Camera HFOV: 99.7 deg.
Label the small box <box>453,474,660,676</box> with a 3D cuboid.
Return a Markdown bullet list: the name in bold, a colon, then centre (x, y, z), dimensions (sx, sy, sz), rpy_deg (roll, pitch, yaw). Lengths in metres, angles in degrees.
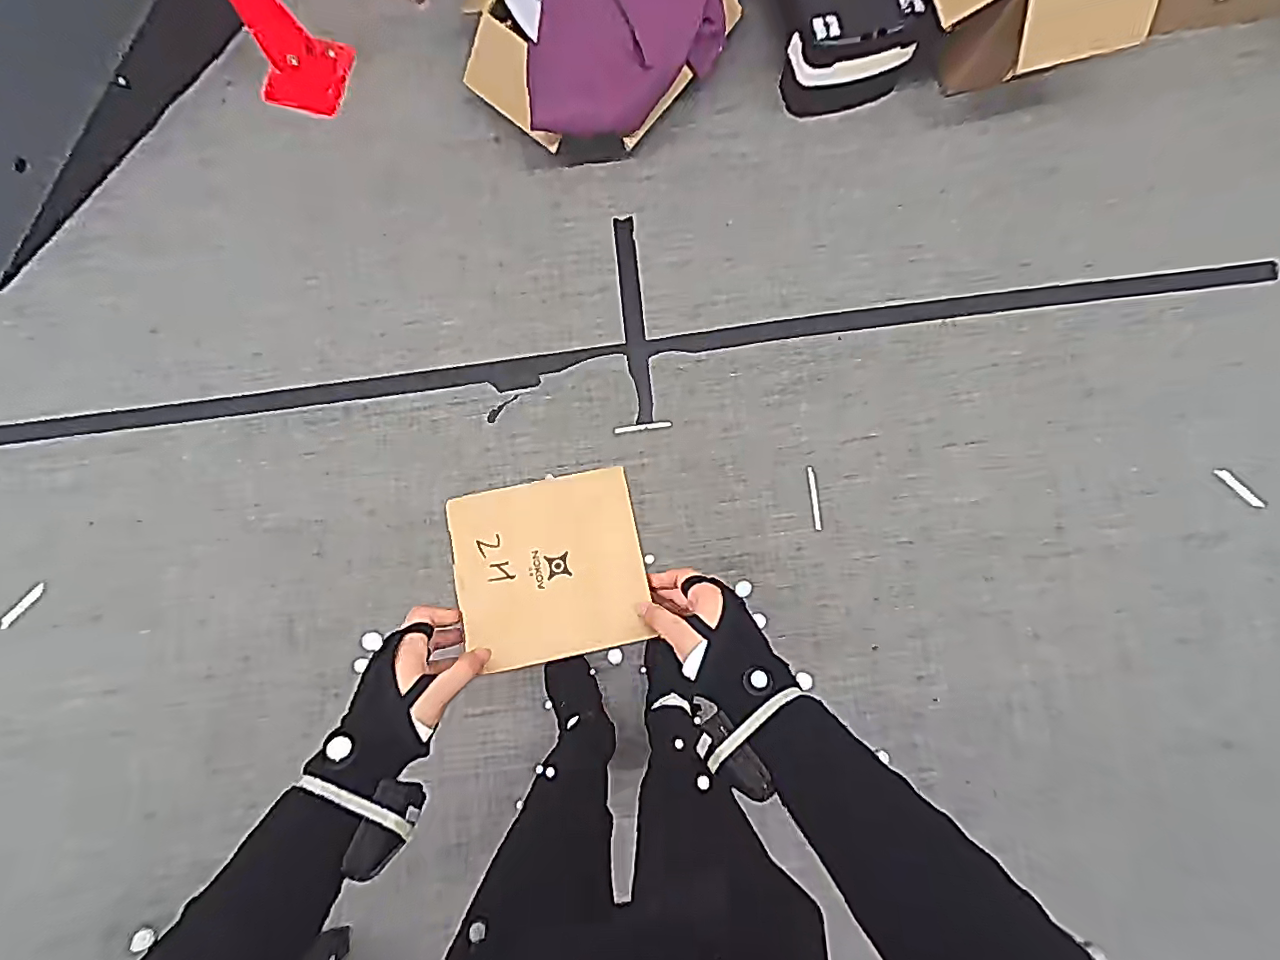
- **small box**: centre (-0.083, 0.102, 0.590), dimensions (0.179, 0.176, 0.168), rpy_deg (-12, 78, -3)
